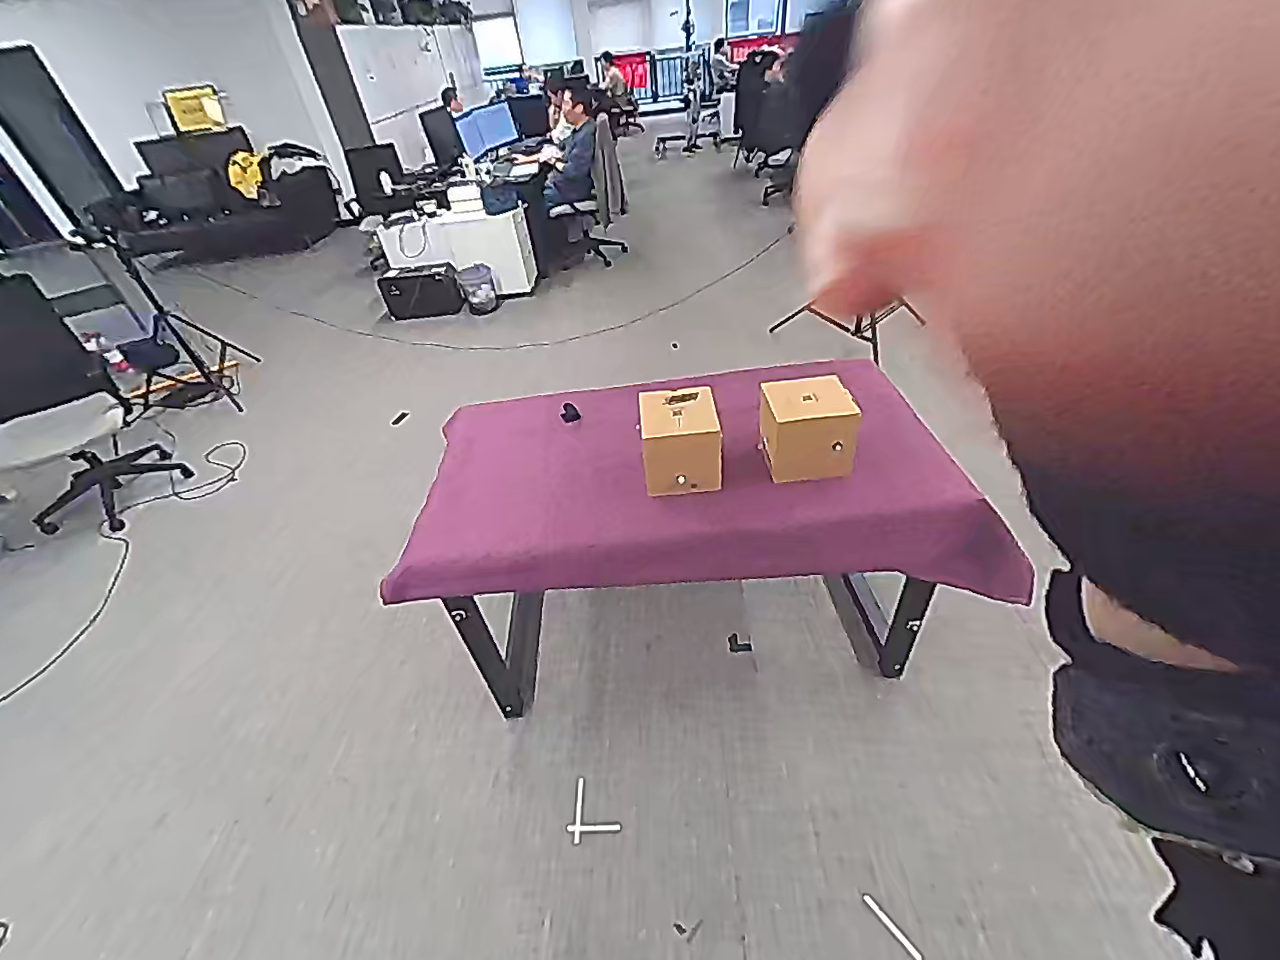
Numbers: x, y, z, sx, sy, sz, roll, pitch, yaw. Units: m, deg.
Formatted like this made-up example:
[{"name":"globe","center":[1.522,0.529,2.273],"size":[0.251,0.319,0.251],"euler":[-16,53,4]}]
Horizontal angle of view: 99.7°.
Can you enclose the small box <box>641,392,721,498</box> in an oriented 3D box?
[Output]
[{"name":"small box","center":[0.091,-0.080,1.233],"size":[0.168,0.176,0.179],"euler":[-6,40,3]}]

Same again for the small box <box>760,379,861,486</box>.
[{"name":"small box","center":[0.374,-0.107,1.222],"size":[0.179,0.176,0.168],"euler":[-8,38,2]}]
